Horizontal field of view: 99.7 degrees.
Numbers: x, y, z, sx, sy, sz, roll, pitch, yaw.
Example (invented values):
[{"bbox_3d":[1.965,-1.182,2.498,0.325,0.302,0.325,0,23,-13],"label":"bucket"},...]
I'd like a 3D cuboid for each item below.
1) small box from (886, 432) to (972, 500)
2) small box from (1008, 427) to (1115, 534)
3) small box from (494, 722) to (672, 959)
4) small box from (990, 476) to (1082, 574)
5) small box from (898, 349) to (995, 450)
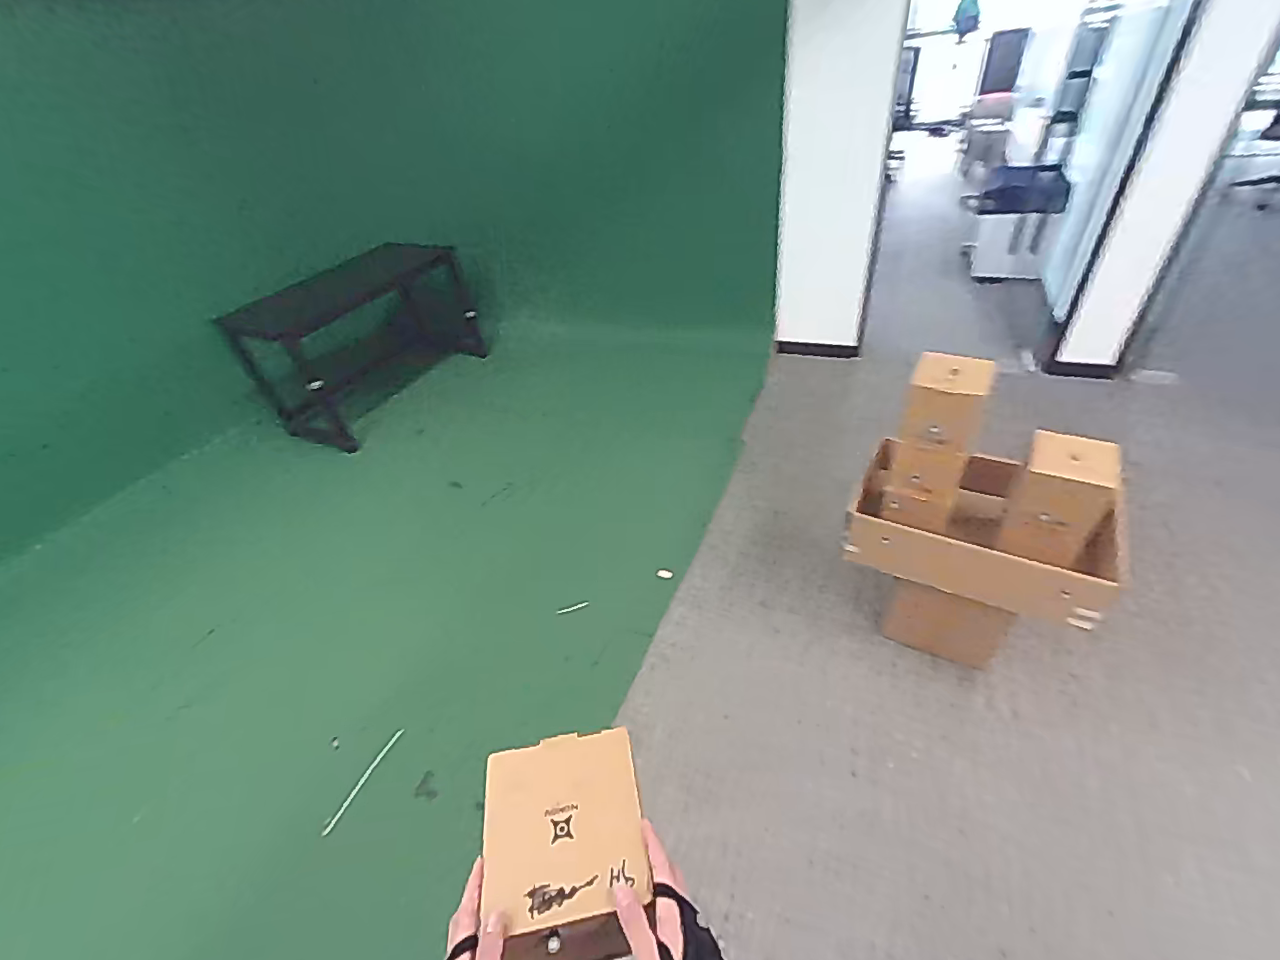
[{"bbox_3d":[0.784,-0.078,1.468,0.168,0.176,0.179,18,47,28],"label":"small box"},{"bbox_3d":[1.032,0.000,1.330,0.168,0.176,0.179,17,47,28],"label":"small box"},{"bbox_3d":[-0.060,0.412,0.619,0.168,0.176,0.179,-9,39,-3],"label":"small box"},{"bbox_3d":[1.053,0.120,1.438,0.168,0.176,0.179,18,47,28],"label":"small box"},{"bbox_3d":[0.767,-0.205,1.364,0.168,0.176,0.179,18,47,29],"label":"small box"}]
